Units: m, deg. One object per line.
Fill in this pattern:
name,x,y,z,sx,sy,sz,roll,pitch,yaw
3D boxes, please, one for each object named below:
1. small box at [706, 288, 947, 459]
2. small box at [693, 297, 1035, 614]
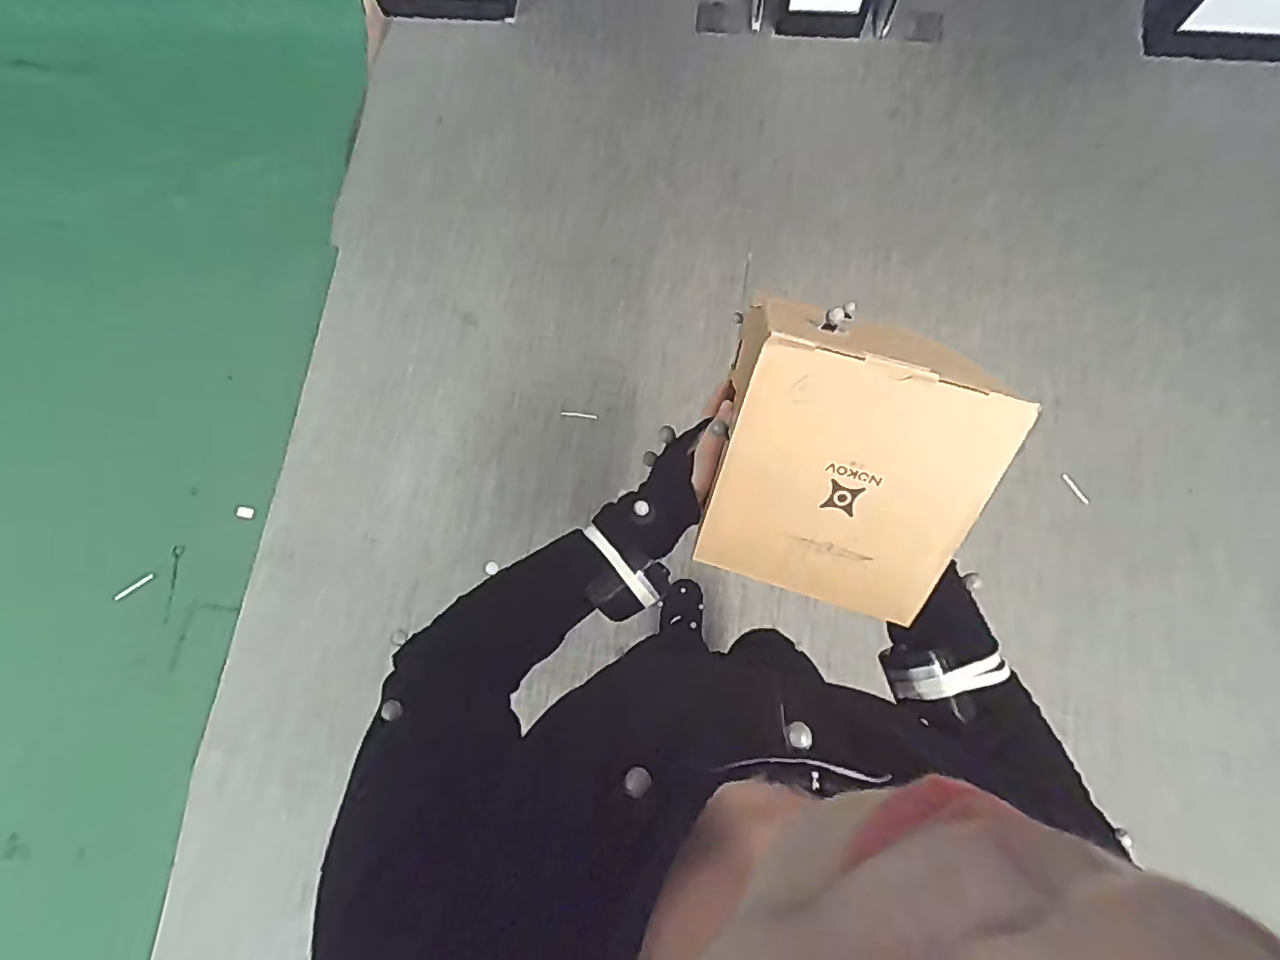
small box,0.180,-0.101,0.574,0.179,0.176,0.168,14,117,5
small box,0.150,-0.034,0.428,0.168,0.176,0.179,17,118,5
